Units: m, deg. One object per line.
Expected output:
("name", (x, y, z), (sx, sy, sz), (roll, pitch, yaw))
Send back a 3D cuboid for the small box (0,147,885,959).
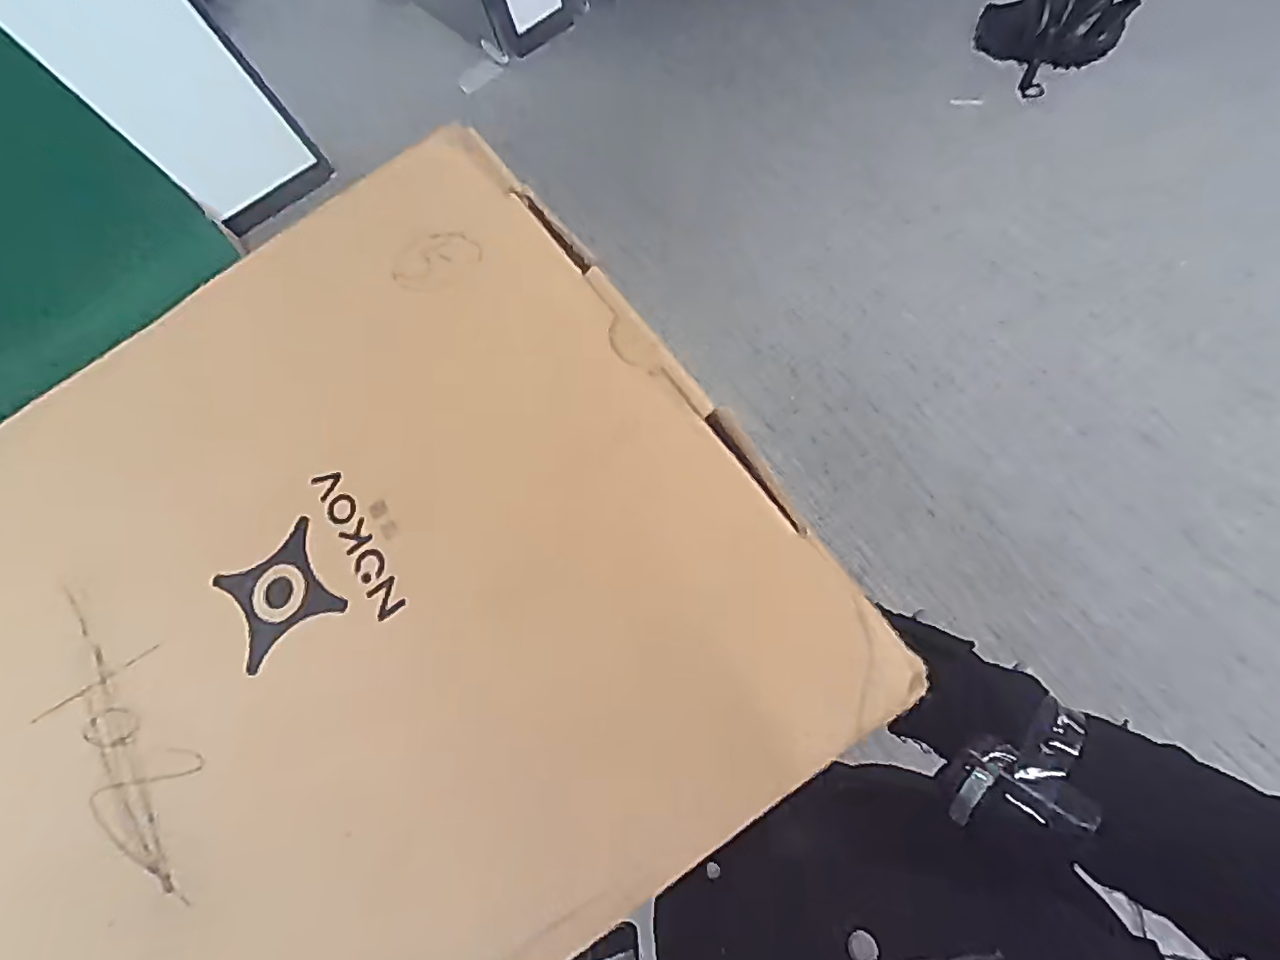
("small box", (-0.055, 0.040, 0.198), (0.179, 0.176, 0.168), (-37, 71, -2))
